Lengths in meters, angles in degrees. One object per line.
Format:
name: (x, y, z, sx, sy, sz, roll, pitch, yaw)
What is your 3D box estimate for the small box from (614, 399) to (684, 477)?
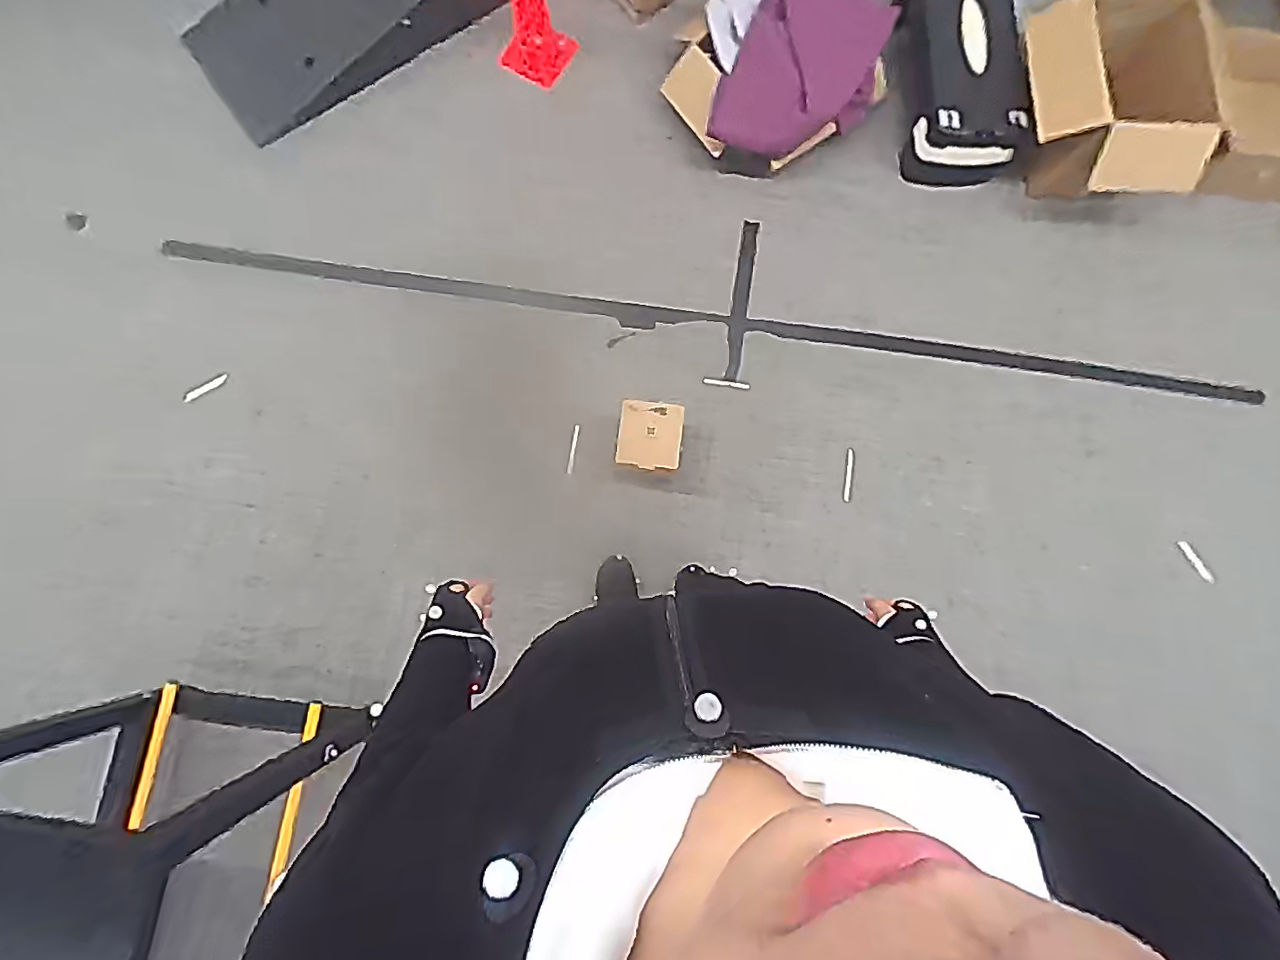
small box: (0.026, -0.109, 1.488, 0.168, 0.176, 0.179, 7, 82, 1)
